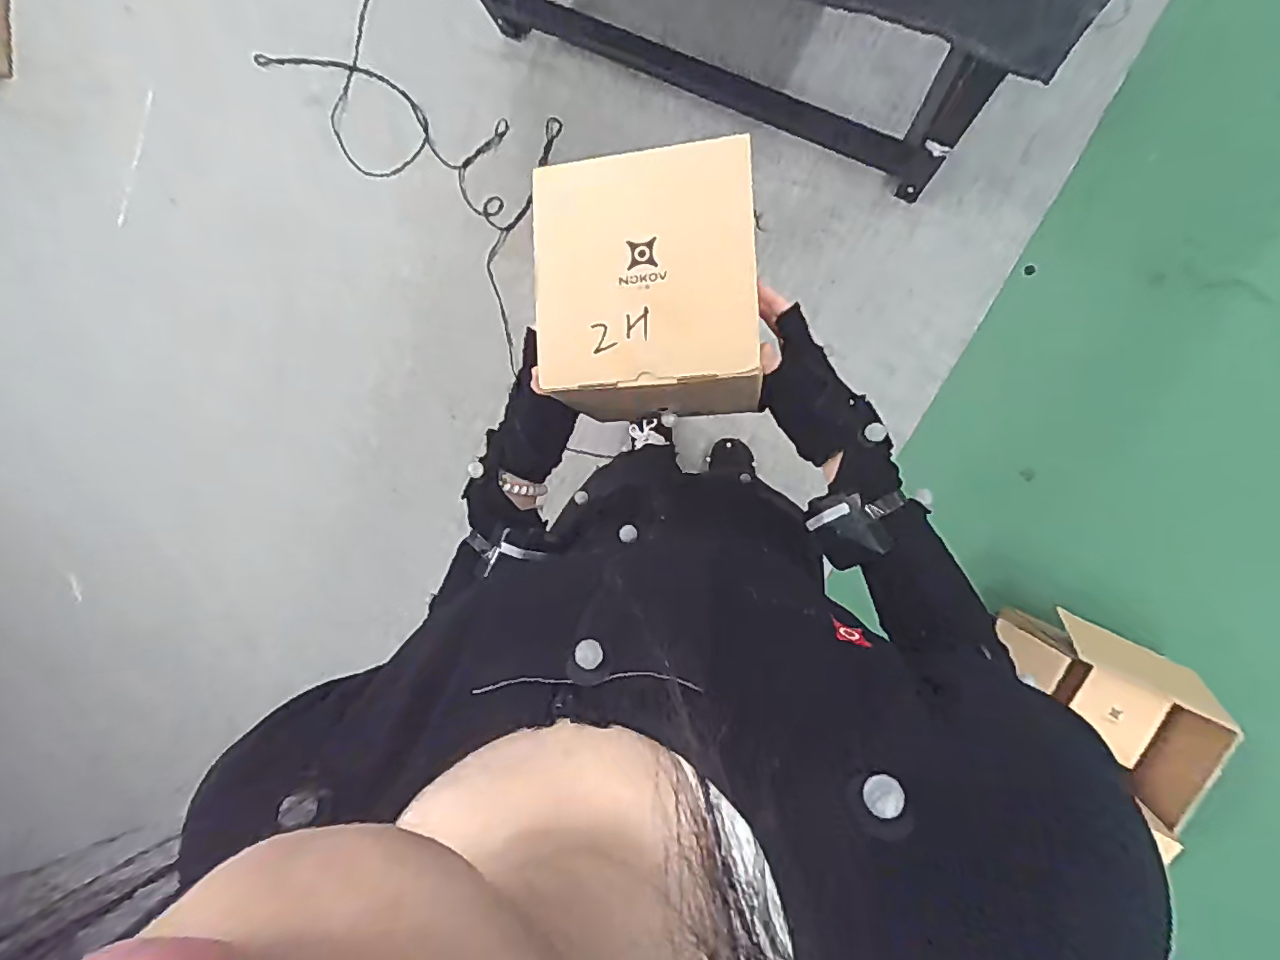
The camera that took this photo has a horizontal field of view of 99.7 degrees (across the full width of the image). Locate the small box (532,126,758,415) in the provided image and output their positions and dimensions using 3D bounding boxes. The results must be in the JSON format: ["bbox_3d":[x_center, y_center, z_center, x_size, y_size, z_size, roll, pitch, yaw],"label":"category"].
[{"bbox_3d":[0.014,-0.159,0.470,0.168,0.176,0.179,-2,88,11],"label":"small box"}]
